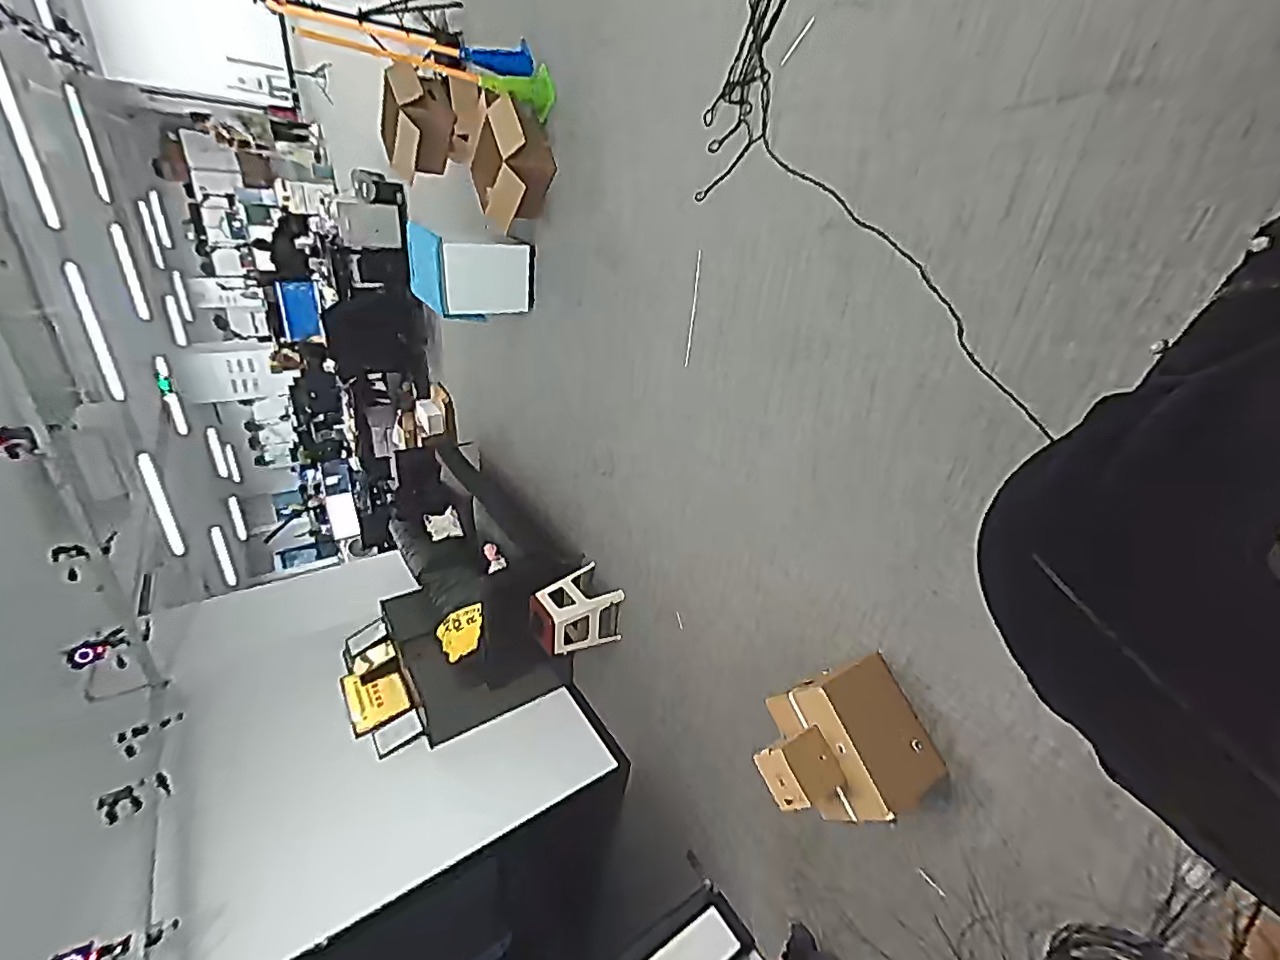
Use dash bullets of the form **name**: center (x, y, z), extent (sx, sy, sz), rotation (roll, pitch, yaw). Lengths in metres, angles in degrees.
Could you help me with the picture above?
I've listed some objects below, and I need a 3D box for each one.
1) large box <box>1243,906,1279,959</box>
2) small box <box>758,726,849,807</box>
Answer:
- **large box**: center (1.371, 1.127, 0.979), extent (0.408, 0.320, 0.320), rotation (18, 118, 51)
- **small box**: center (0.517, 0.902, 1.712), extent (0.179, 0.176, 0.168), rotation (61, 147, 22)
